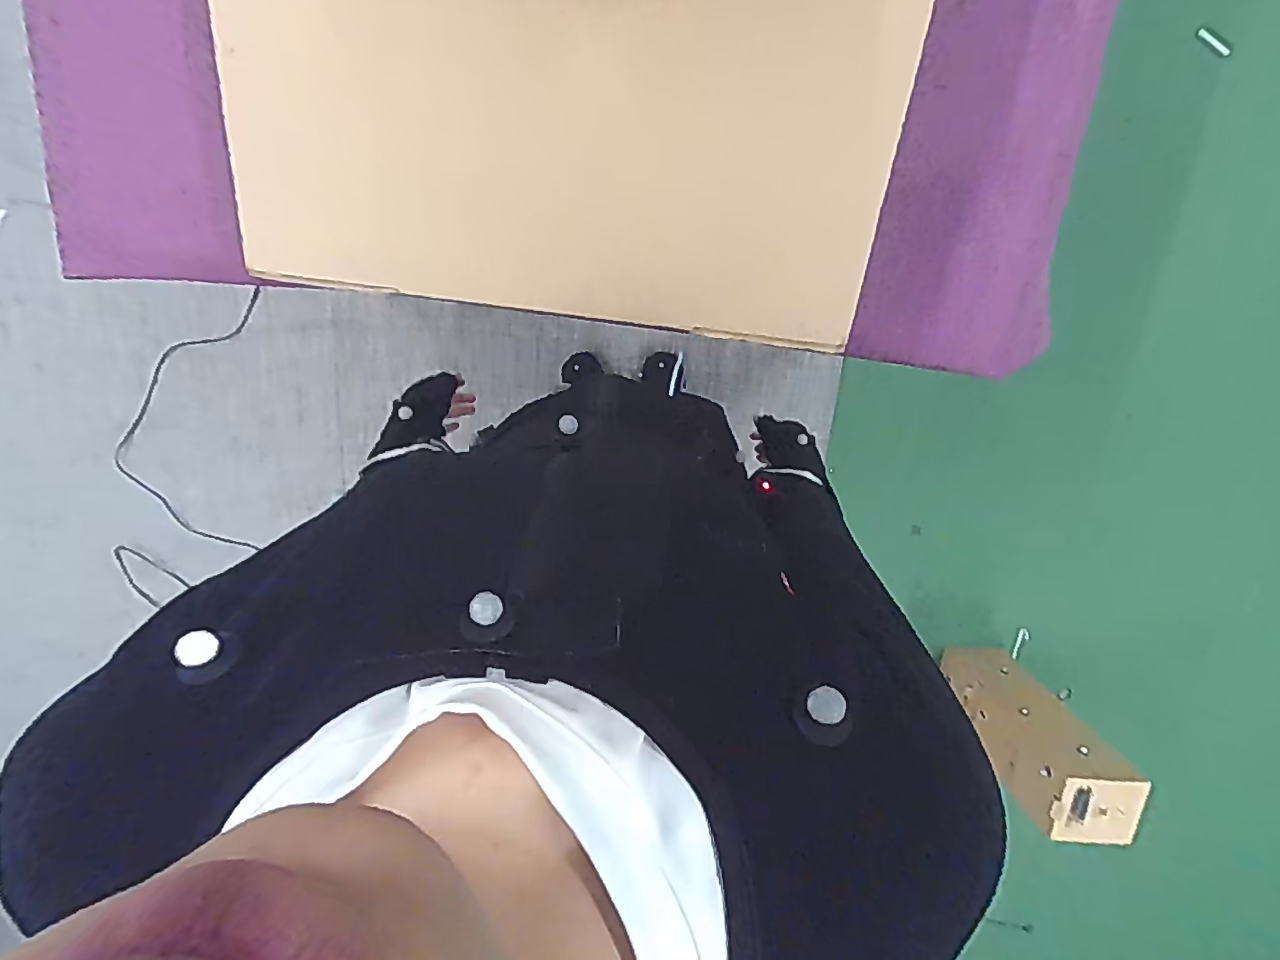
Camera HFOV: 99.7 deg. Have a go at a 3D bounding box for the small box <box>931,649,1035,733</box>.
[{"bbox_3d":[0.966,0.599,1.535,0.179,0.176,0.168,4,104,1],"label":"small box"}]

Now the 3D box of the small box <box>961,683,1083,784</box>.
[{"bbox_3d":[0.962,0.639,1.377,0.179,0.176,0.168,2,105,2],"label":"small box"}]
